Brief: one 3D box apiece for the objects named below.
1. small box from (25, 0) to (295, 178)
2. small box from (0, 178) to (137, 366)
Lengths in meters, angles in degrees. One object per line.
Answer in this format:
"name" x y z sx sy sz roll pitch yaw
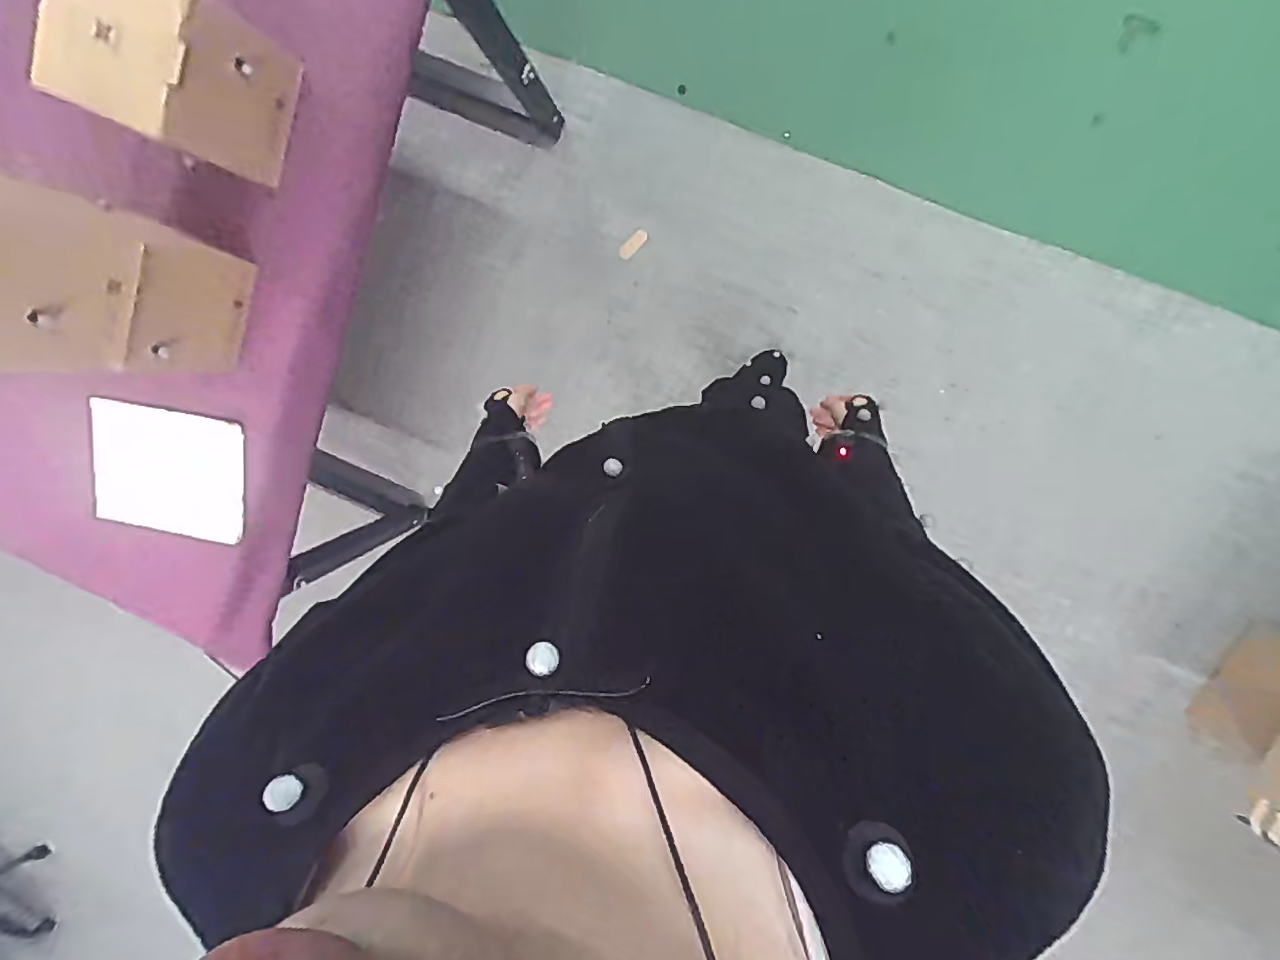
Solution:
"small box" -0.573 -0.504 0.666 0.179 0.176 0.168 25 103 3
"small box" -0.694 -0.228 0.569 0.179 0.176 0.168 25 104 3
